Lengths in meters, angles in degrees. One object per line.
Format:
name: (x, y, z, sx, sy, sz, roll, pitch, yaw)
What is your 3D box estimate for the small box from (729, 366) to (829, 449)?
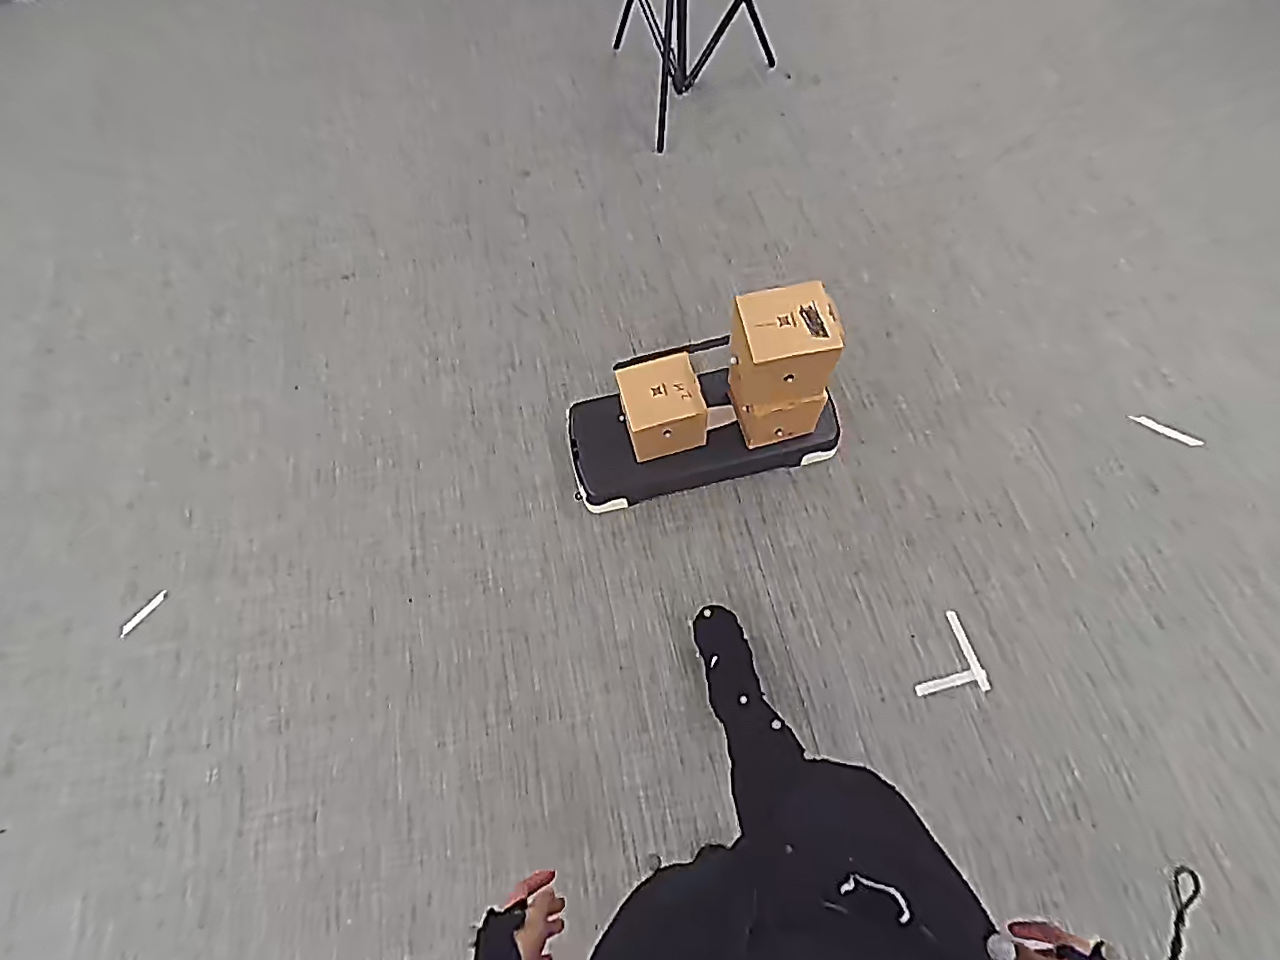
small box: (0.315, -0.199, 1.269, 0.168, 0.176, 0.179, -15, 68, -2)

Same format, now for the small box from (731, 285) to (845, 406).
small box: (0.296, -0.272, 1.123, 0.179, 0.176, 0.168, -10, 68, 1)
